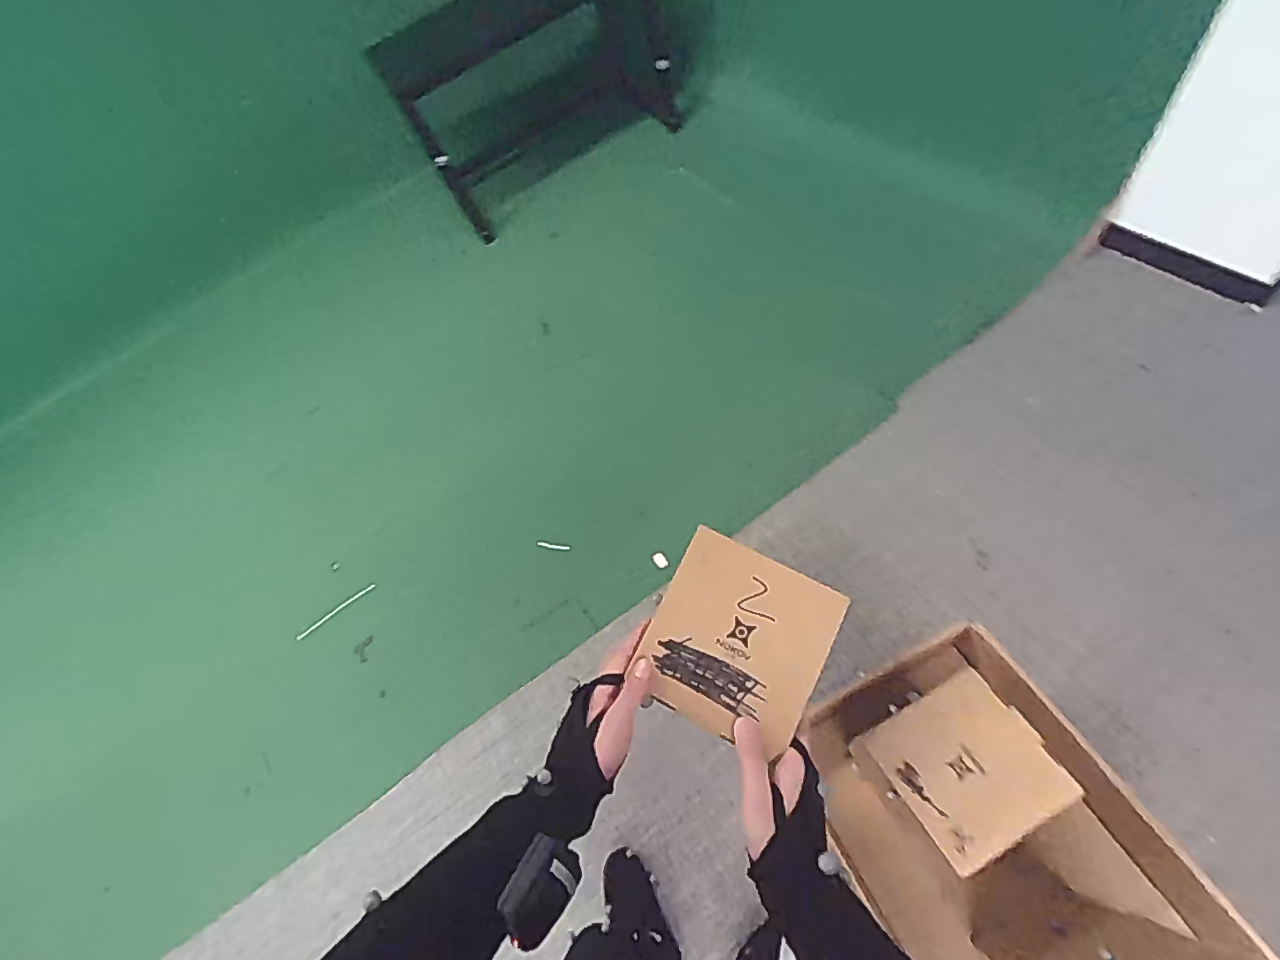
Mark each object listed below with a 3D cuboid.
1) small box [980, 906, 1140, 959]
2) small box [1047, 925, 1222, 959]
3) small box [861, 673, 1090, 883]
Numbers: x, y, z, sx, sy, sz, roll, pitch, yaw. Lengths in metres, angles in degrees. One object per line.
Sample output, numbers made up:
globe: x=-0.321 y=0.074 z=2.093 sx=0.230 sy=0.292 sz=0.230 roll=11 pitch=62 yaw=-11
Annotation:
small box: x=0.578 y=0.681 z=0.688 sx=0.179 sy=0.176 sz=0.168 roll=-26 pitch=57 yaw=1
small box: x=0.535 y=0.599 z=0.554 sx=0.179 sy=0.176 sz=0.168 roll=-26 pitch=57 yaw=0
small box: x=0.416 y=0.385 z=0.711 sx=0.179 sy=0.176 sz=0.168 roll=-31 pitch=56 yaw=-3
